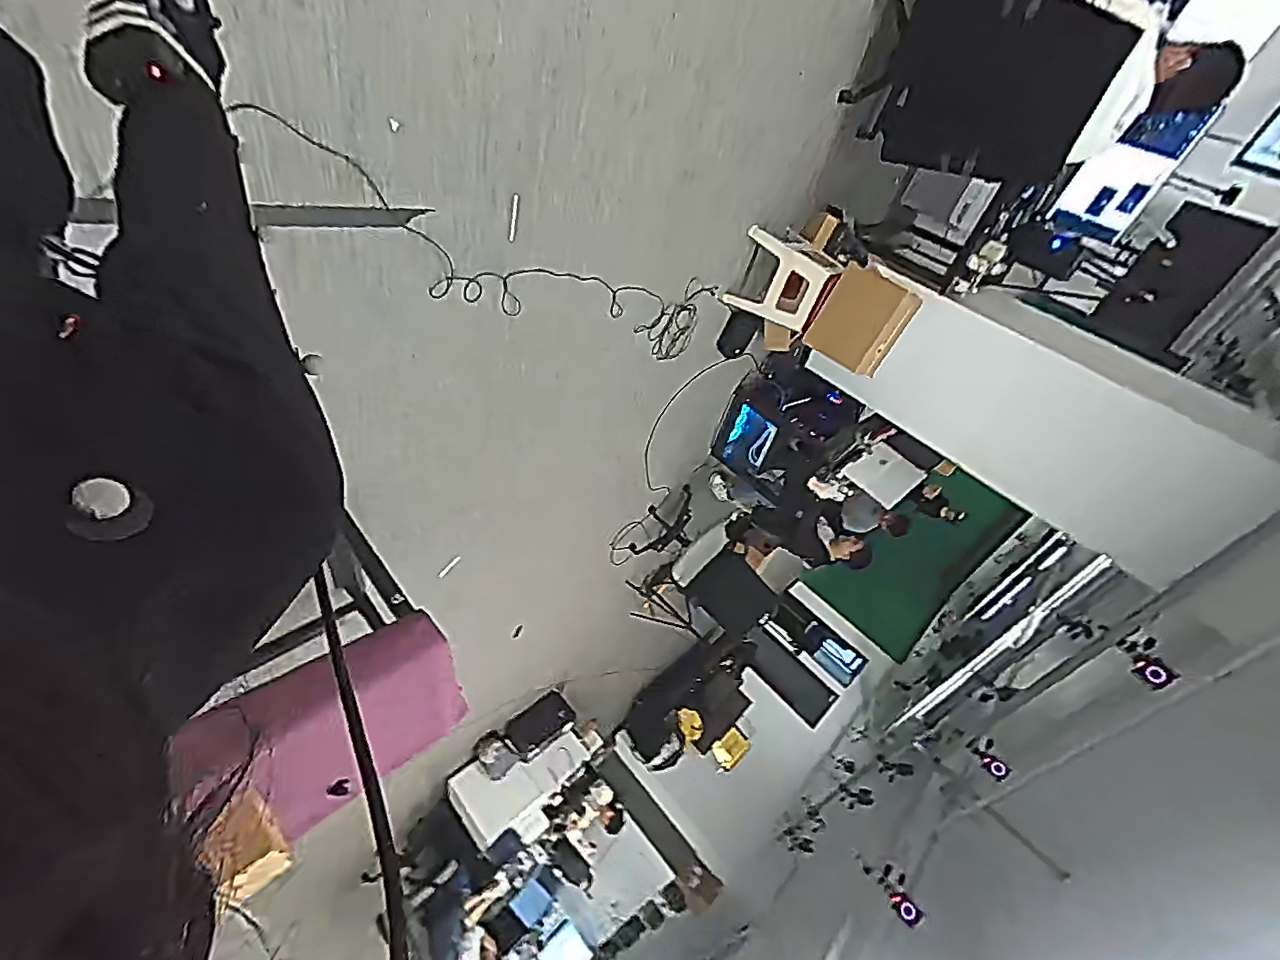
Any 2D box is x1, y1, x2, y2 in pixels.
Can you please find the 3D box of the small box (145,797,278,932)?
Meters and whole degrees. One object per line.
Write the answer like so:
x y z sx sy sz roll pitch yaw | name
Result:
-0.979 0.876 1.242 0.179 0.176 0.168 -28 148 -38 | small box
